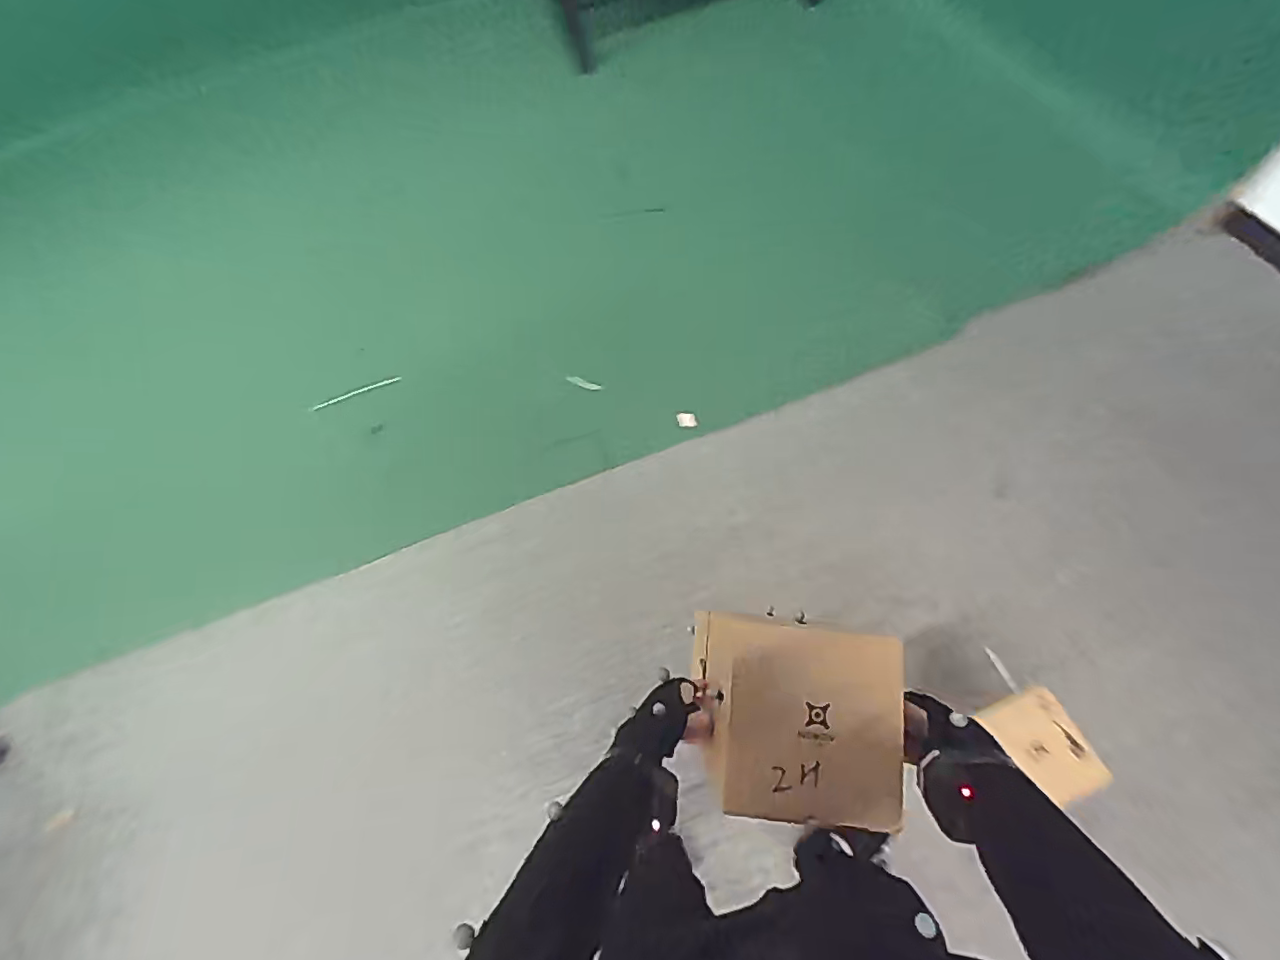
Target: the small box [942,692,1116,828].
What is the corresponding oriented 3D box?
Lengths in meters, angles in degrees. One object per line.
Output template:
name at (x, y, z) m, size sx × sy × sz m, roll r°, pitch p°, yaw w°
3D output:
small box at (0.691, 0.510, 0.994) m, size 0.179 × 0.176 × 0.168 m, roll -22°, pitch 64°, yaw -2°
